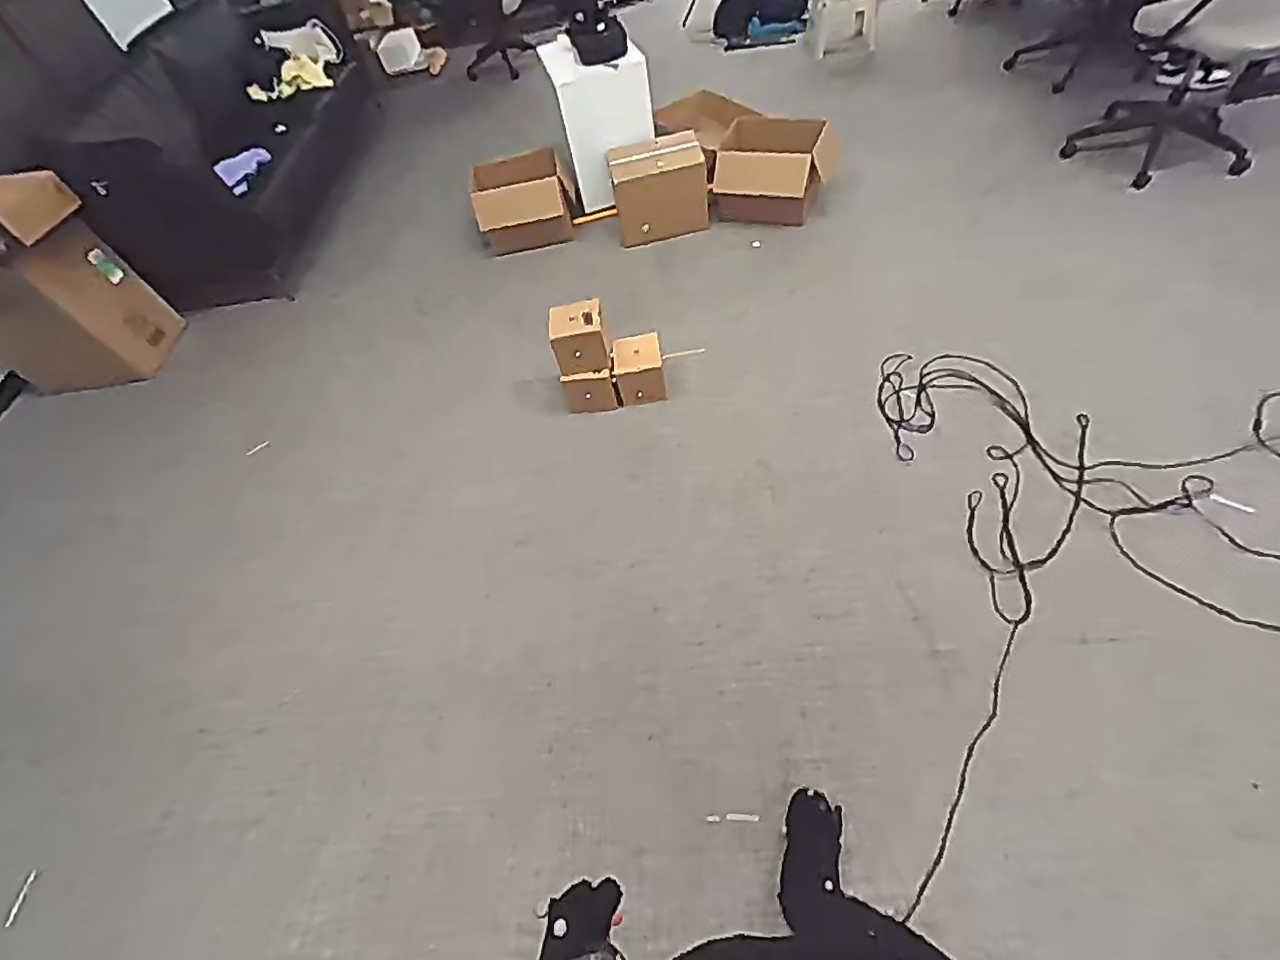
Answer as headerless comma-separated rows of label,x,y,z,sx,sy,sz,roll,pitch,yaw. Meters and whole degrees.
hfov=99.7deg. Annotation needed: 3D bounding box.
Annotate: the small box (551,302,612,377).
small box,-0.195,-0.475,1.845,0.179,0.176,0.168,-9,54,6
